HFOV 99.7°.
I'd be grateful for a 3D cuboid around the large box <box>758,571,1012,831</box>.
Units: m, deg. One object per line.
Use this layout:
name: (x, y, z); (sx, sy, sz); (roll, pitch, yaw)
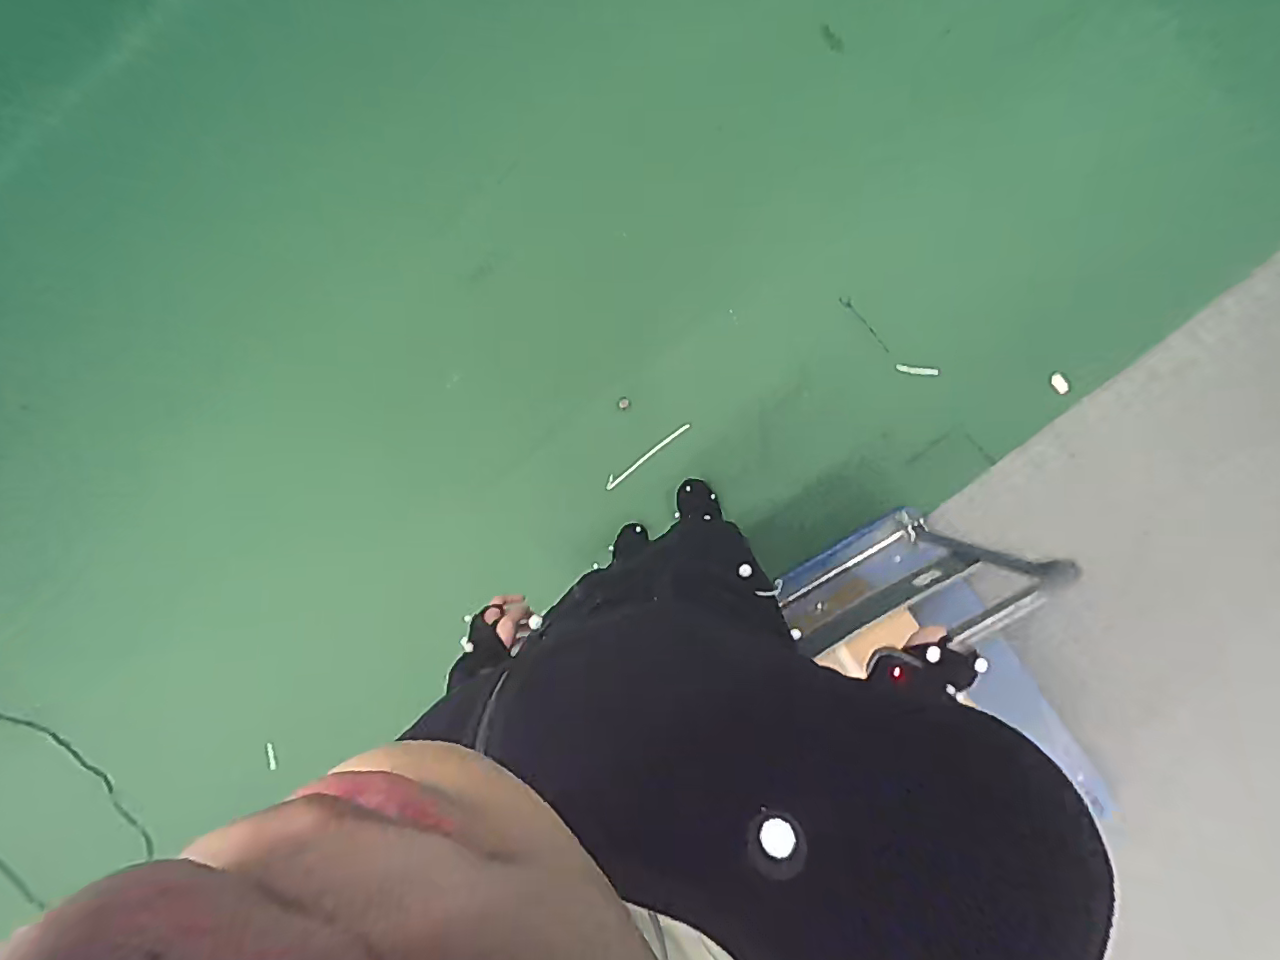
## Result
large box: (0.525, 0.476, 1.255); (0.320, 0.320, 0.408); (-34, 85, 6)
